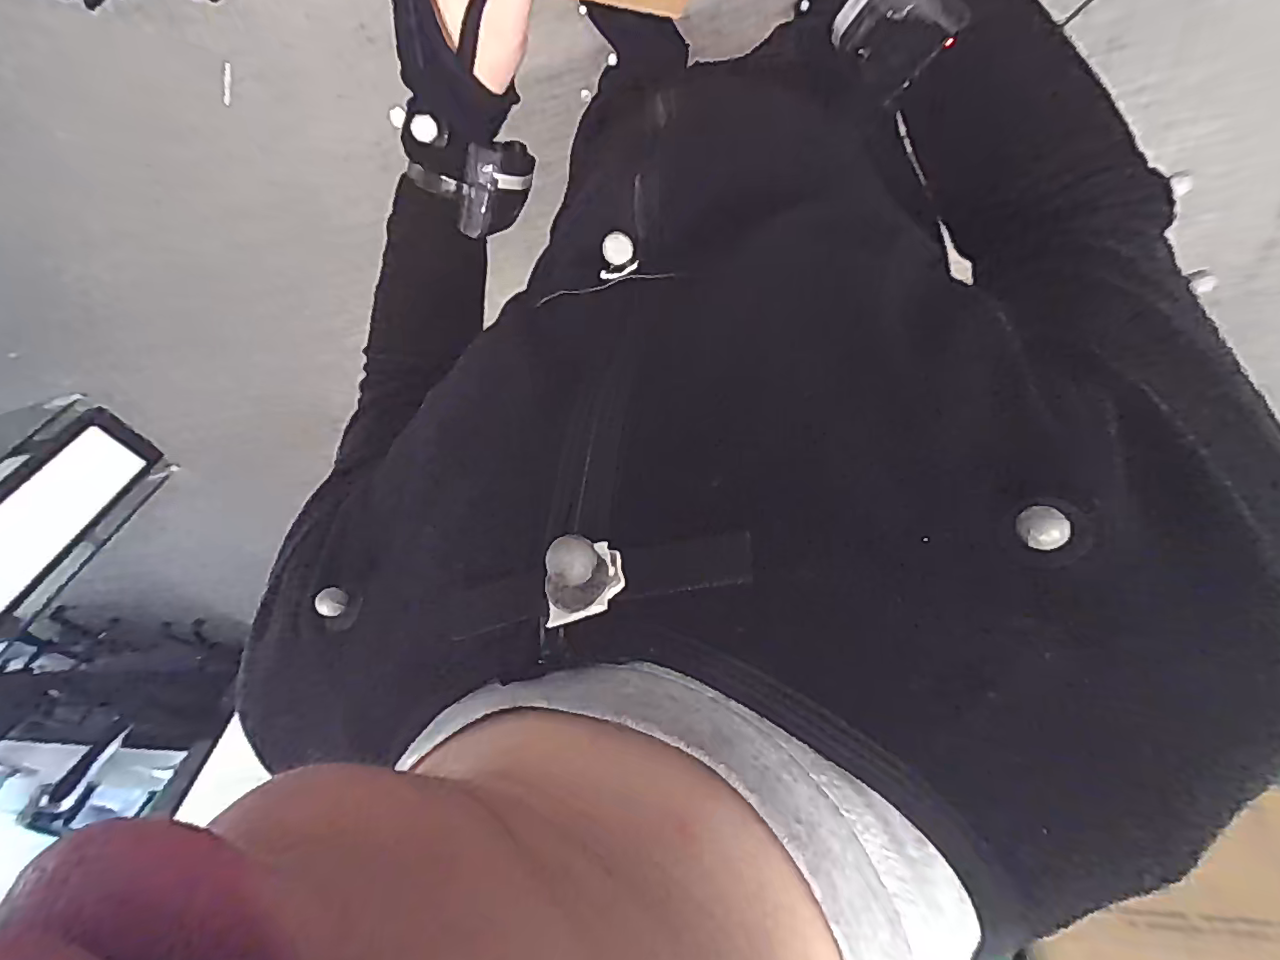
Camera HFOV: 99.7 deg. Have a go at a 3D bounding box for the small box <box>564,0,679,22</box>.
[{"bbox_3d":[-0.035,-0.427,0.313,0.176,0.168,0.179,-33,83,56],"label":"small box"}]
